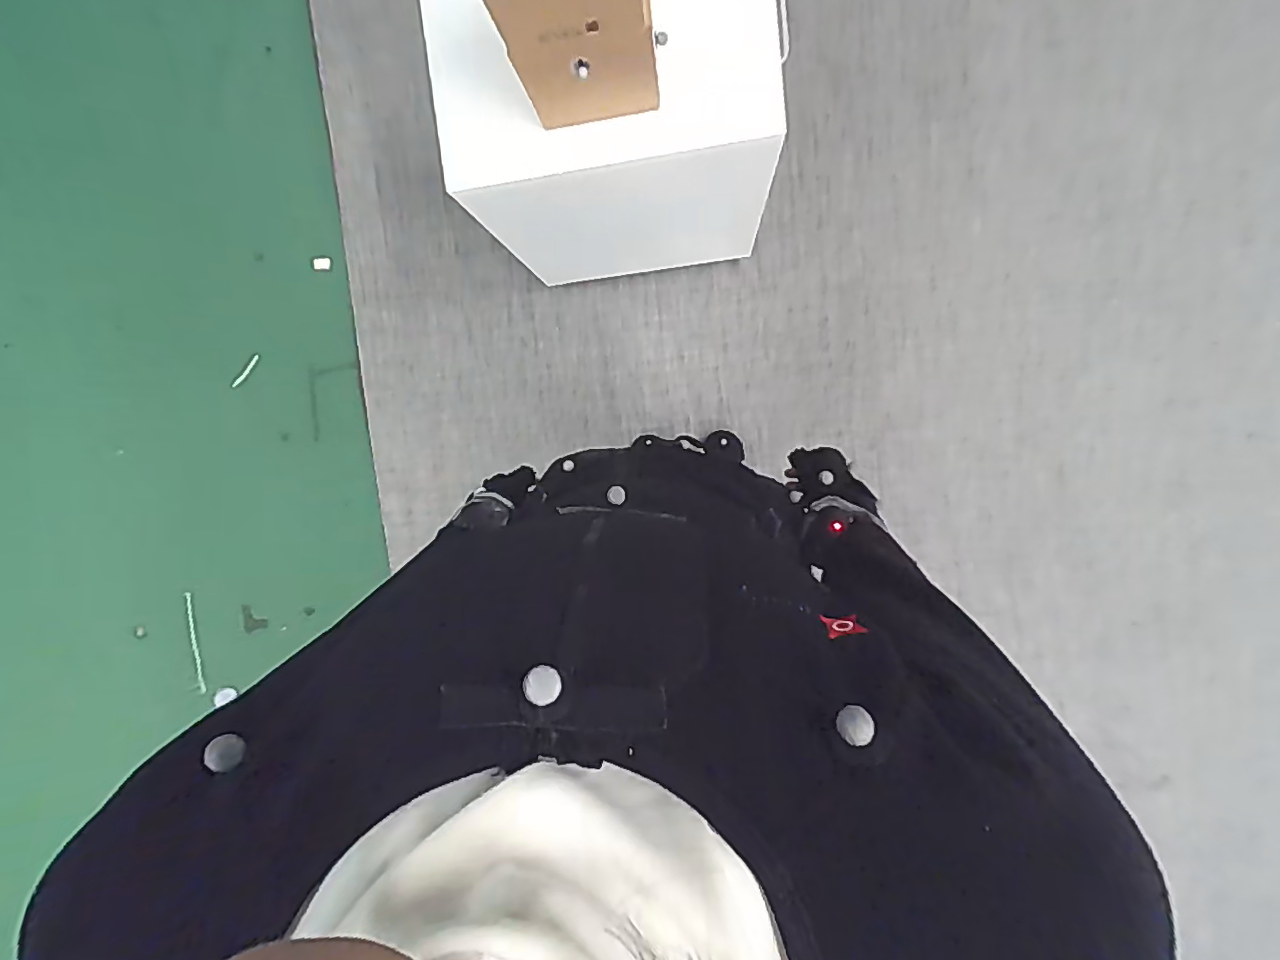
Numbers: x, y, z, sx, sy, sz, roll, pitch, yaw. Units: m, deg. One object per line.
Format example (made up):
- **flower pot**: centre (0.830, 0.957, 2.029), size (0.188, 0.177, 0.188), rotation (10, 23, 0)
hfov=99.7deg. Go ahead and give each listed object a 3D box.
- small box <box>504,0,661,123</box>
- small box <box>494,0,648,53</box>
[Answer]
- **small box**: centre (-0.072, -0.601, 0.705), size (0.179, 0.176, 0.168), rotation (-6, 95, 6)
- **small box**: centre (-0.087, -0.589, 0.545), size (0.168, 0.176, 0.179), rotation (-7, 96, 6)
